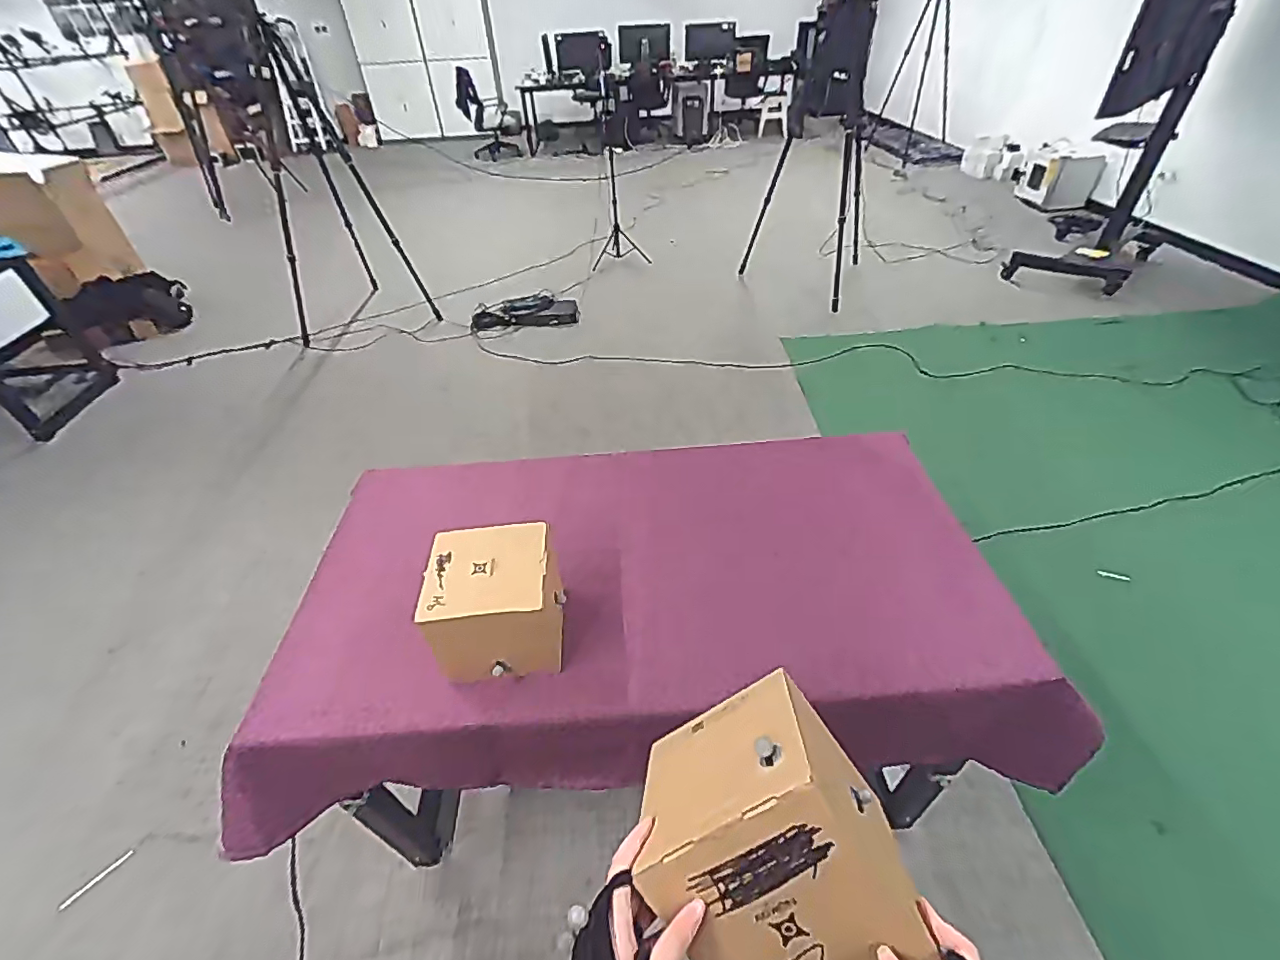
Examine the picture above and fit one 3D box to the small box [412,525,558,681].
[{"bbox_3d":[-0.222,0.190,0.834,0.179,0.176,0.168,-5,42,-3],"label":"small box"}]
